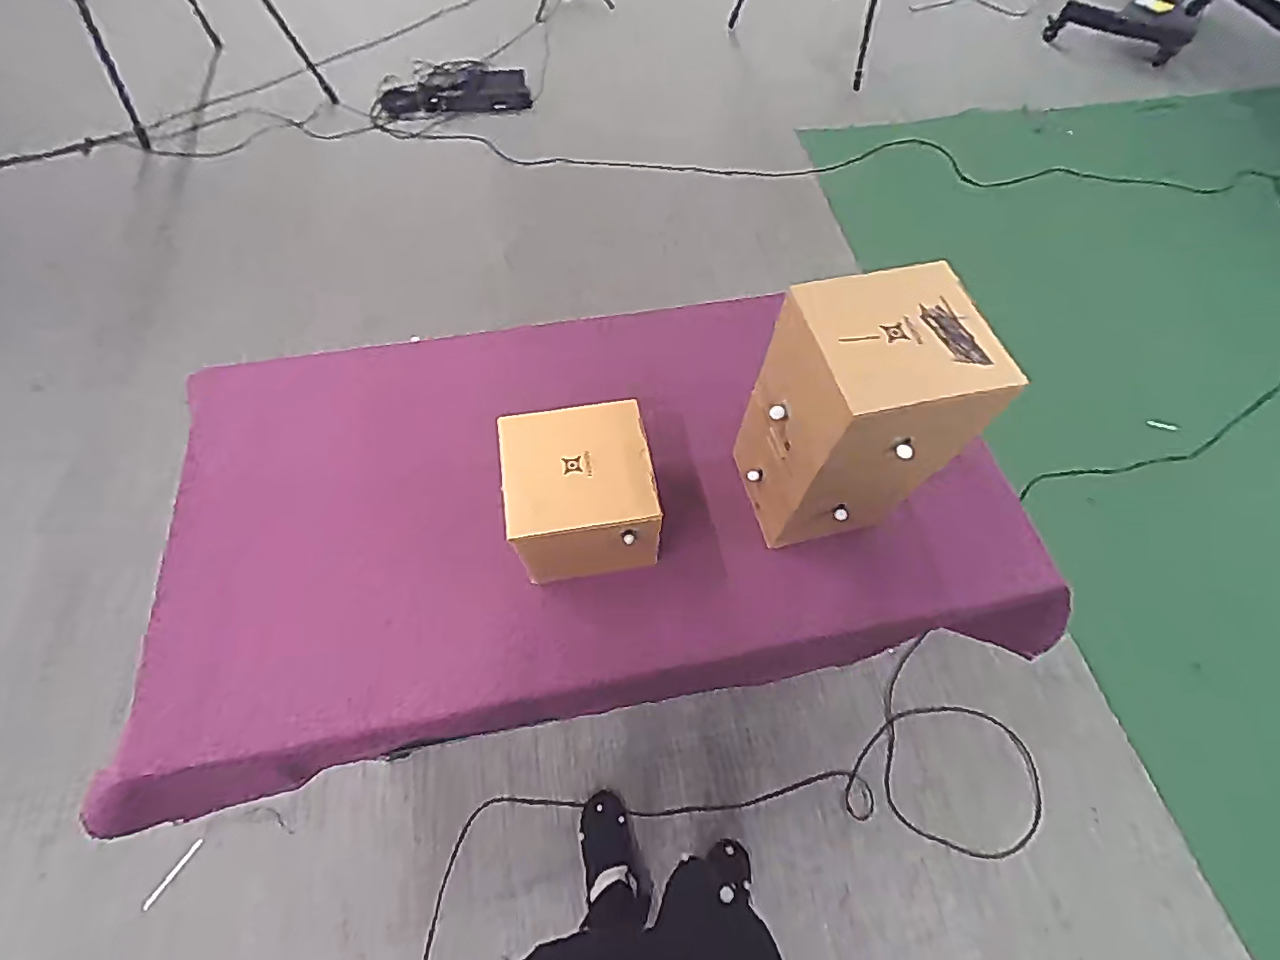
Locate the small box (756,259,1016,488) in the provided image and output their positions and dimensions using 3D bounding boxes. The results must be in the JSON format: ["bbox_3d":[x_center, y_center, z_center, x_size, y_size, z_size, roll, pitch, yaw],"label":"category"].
[{"bbox_3d":[0.247,-0.110,0.595,0.179,0.176,0.168,-11,62,-6],"label":"small box"}]

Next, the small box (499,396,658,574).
[{"bbox_3d":[-0.078,0.013,0.713,0.179,0.176,0.168,-8,62,-6],"label":"small box"}]

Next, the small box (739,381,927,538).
[{"bbox_3d":[0.244,-0.036,0.742,0.179,0.176,0.168,-12,63,-6],"label":"small box"}]
